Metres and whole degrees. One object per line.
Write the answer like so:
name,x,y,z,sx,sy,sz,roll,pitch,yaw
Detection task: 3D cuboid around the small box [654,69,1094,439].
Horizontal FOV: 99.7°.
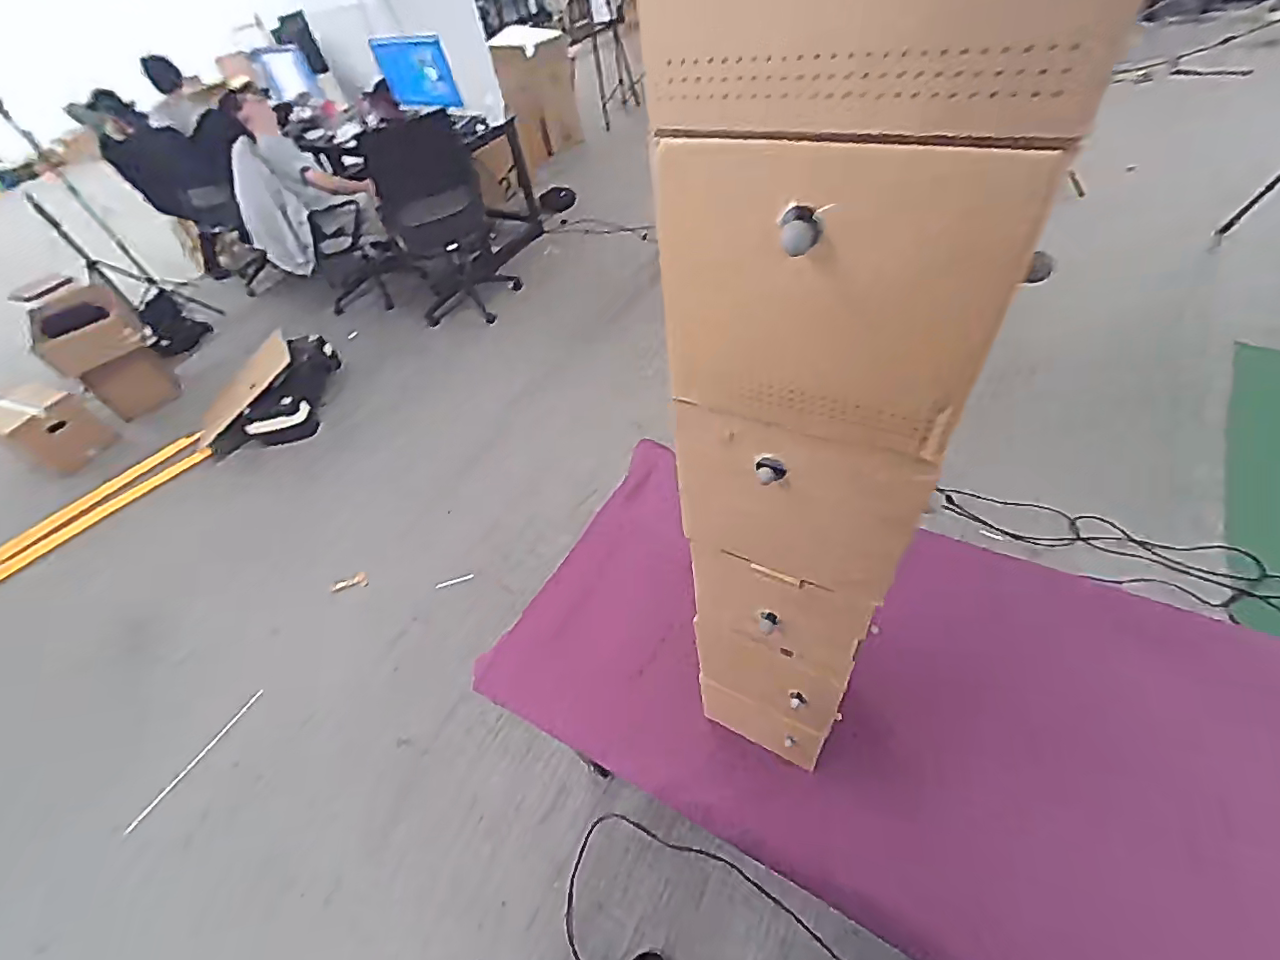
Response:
small box,0.130,-0.146,0.327,0.179,0.176,0.168,18,54,25

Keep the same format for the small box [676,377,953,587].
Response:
small box,0.147,-0.038,0.447,0.179,0.176,0.168,19,55,24

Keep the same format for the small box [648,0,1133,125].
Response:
small box,0.110,-0.255,0.205,0.179,0.176,0.168,19,55,25

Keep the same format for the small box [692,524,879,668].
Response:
small box,0.171,0.067,0.571,0.168,0.176,0.179,19,55,24

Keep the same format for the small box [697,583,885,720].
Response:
small box,0.190,0.178,0.688,0.179,0.176,0.168,19,55,26
